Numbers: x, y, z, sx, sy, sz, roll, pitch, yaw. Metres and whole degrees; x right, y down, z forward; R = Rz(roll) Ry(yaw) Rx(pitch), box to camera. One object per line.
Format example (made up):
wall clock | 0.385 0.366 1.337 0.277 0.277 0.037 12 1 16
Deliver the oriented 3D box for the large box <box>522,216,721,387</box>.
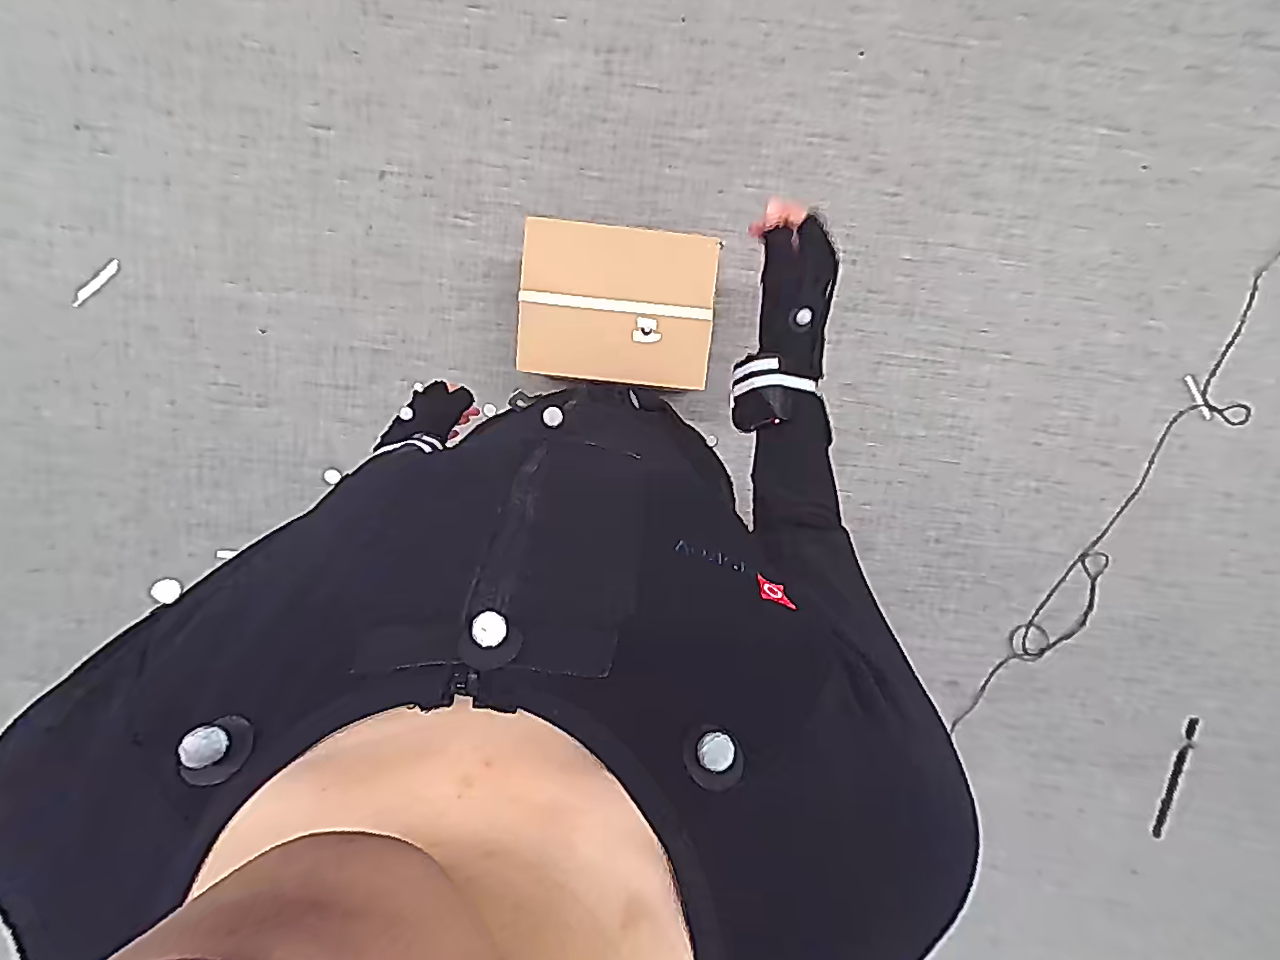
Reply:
large box | -0.047 -0.391 1.269 0.408 0.320 0.320 5 99 -2
